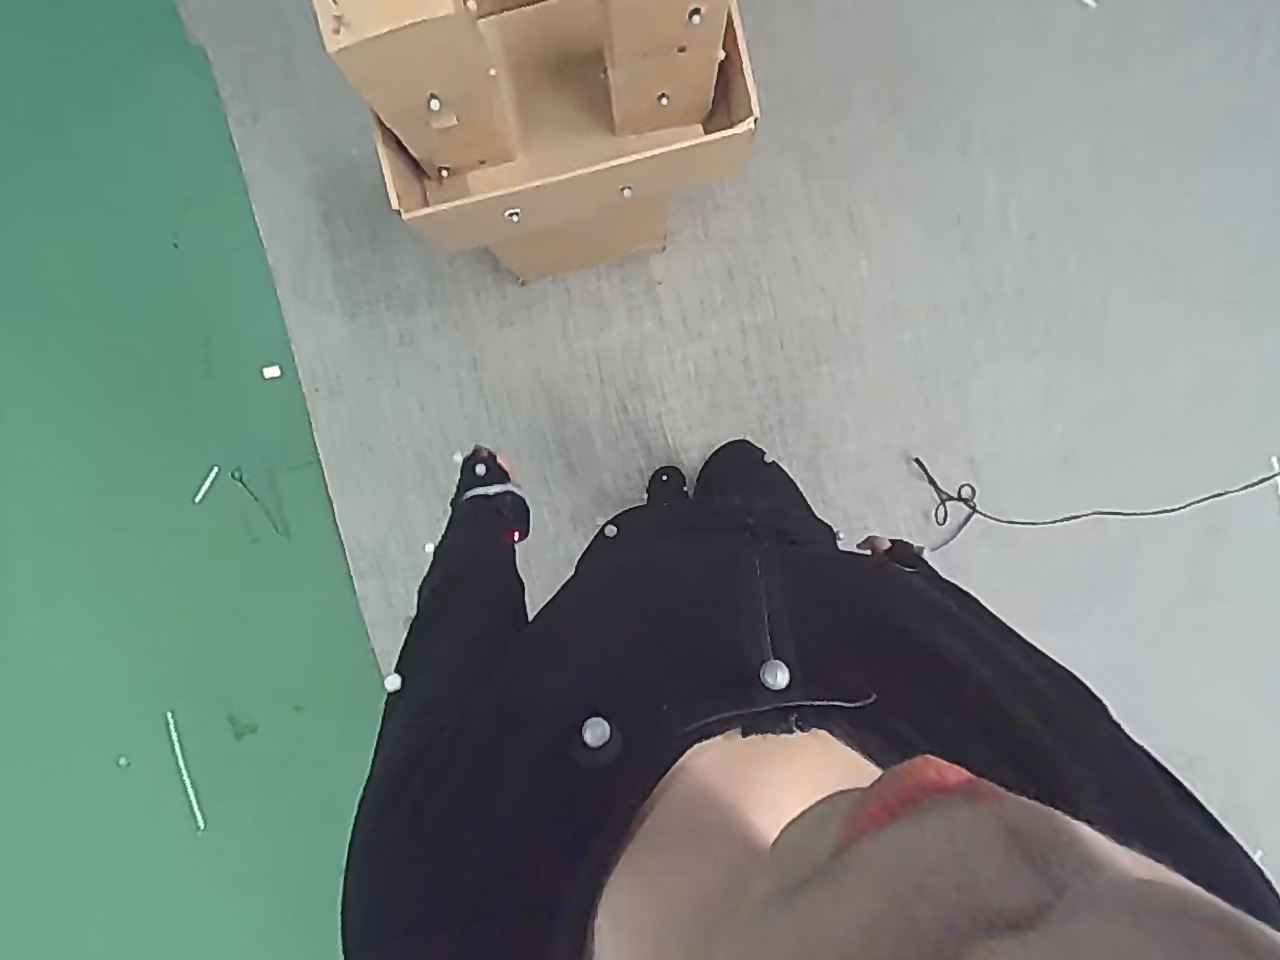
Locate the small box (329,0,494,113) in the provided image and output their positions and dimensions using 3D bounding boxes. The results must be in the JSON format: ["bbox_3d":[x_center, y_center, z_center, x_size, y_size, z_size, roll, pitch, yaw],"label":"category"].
[{"bbox_3d":[-0.320,-0.669,0.768,0.179,0.176,0.168,-14,91,2],"label":"small box"}]
